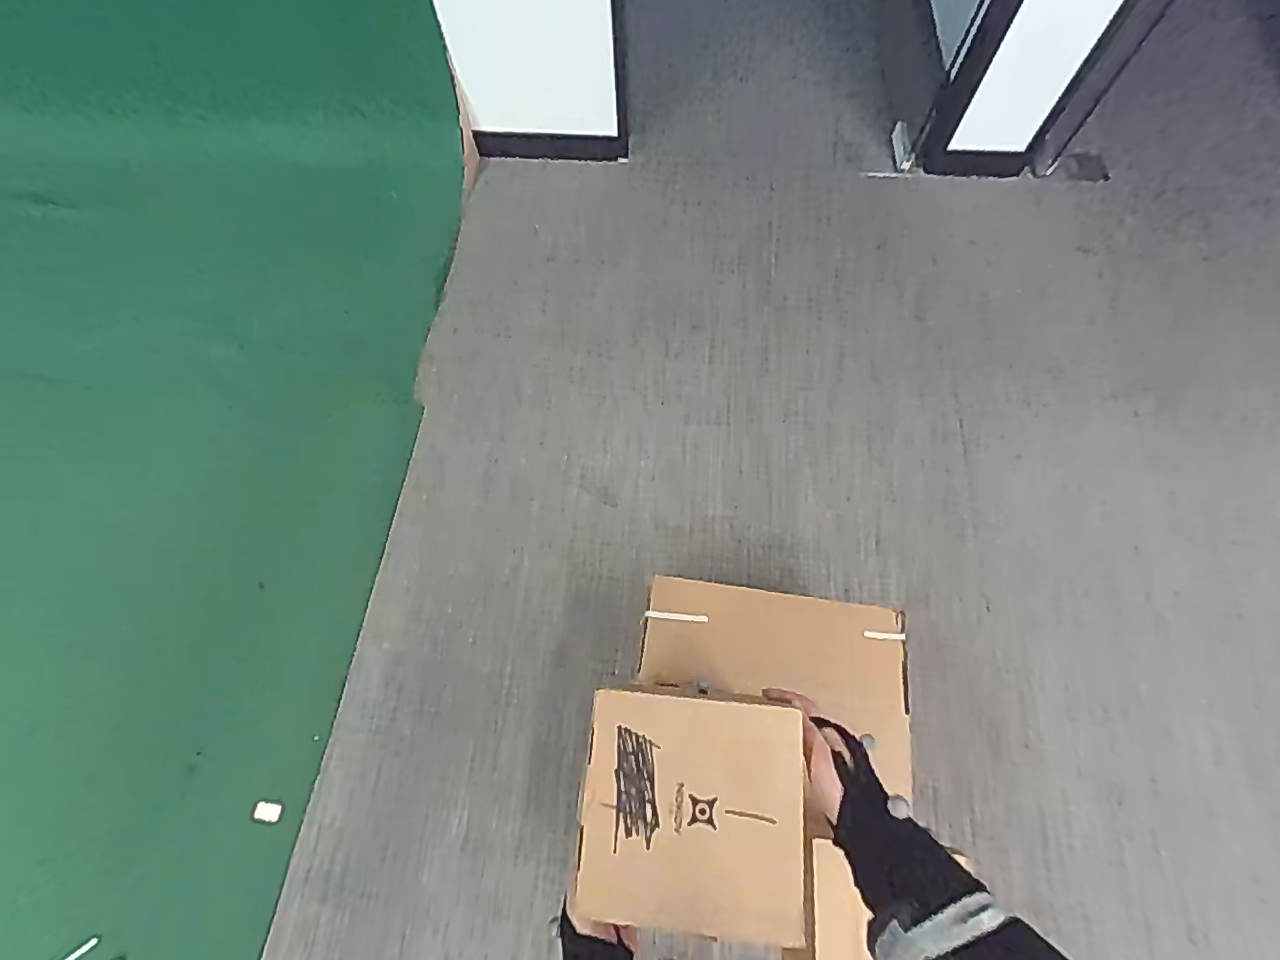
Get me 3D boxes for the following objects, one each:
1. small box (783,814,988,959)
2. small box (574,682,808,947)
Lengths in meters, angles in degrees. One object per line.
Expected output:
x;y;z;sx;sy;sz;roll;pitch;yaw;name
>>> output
0.274;0.505;0.636;0.179;0.176;0.168;5;65;3;small box
0.048;0.281;0.498;0.179;0.176;0.168;4;72;4;small box
